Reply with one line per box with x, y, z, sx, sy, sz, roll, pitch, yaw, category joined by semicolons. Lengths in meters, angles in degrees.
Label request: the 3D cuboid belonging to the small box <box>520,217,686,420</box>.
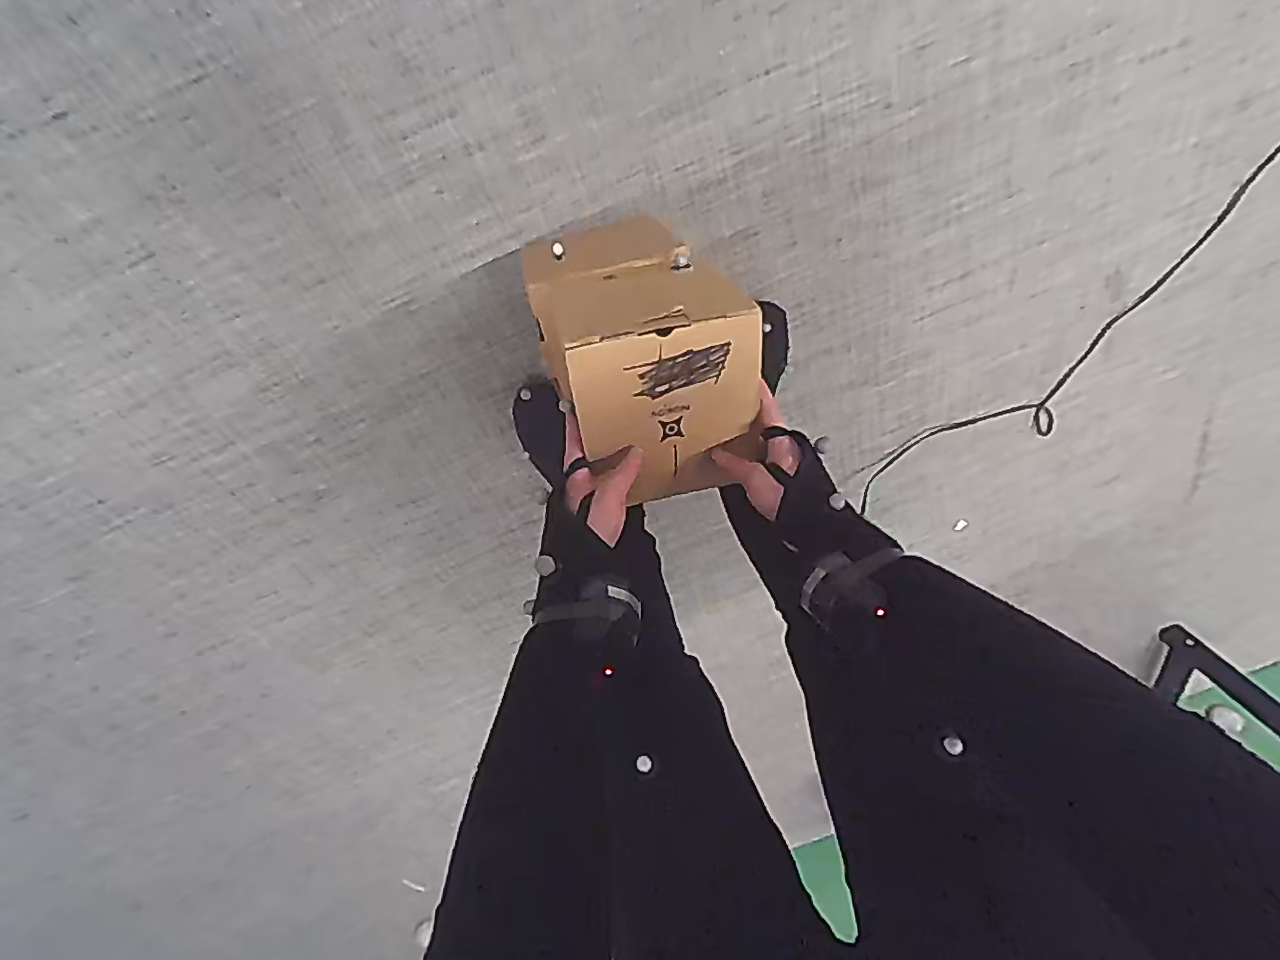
-0.040;-0.202;0.663;0.179;0.176;0.168;-17;129;-3;small box

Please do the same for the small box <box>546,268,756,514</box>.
0.006;-0.098;0.540;0.168;0.176;0.179;-12;129;-5;small box
